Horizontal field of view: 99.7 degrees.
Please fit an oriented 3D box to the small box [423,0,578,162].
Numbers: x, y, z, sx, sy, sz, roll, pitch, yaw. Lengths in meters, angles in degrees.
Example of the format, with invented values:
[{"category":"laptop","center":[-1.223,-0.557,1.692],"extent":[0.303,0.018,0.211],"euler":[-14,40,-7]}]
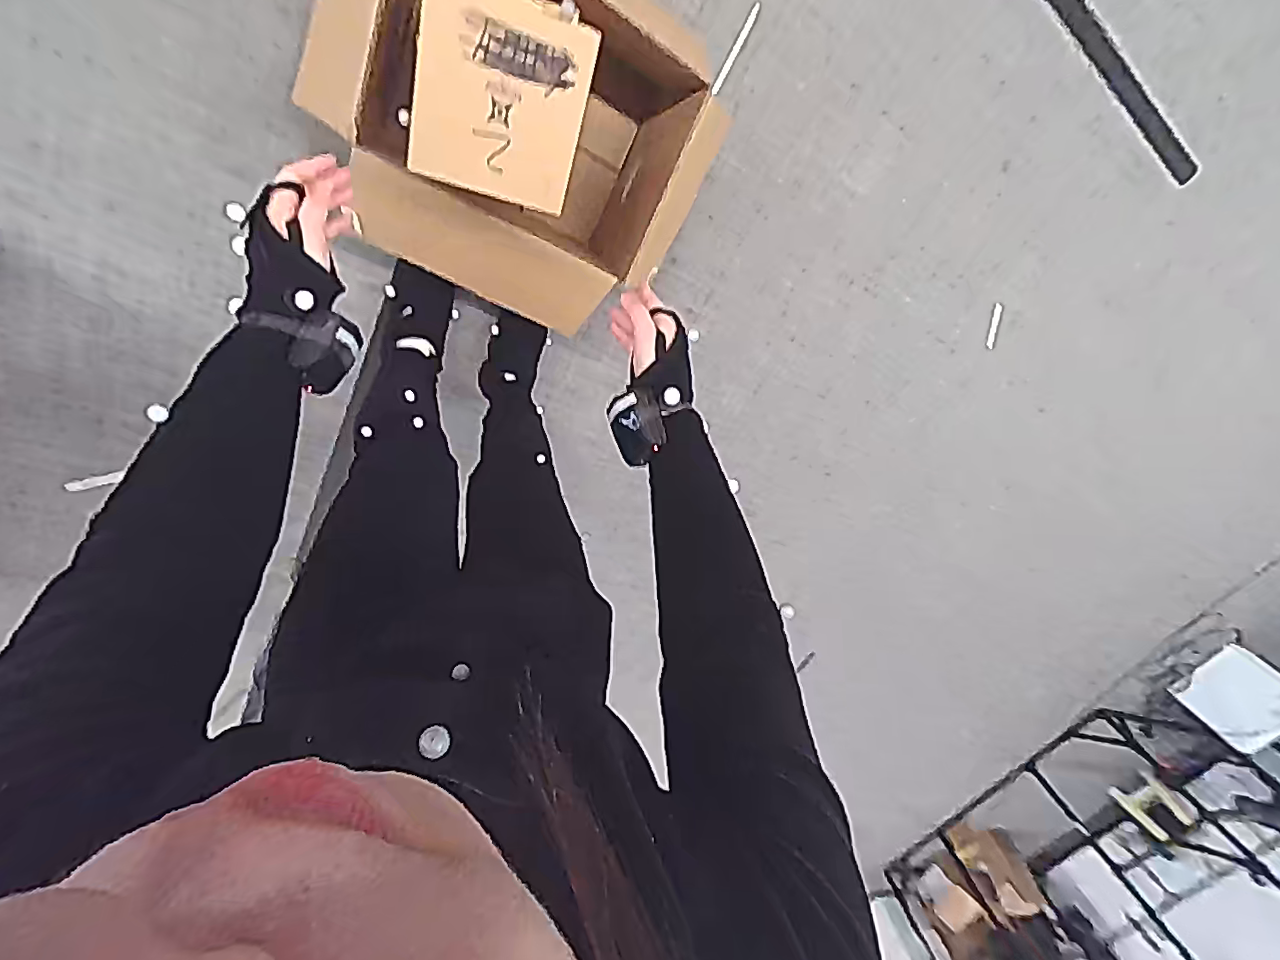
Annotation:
[{"category":"small box","center":[-0.191,-0.544,0.728],"extent":[0.179,0.176,0.168],"euler":[-3,127,-19]}]
